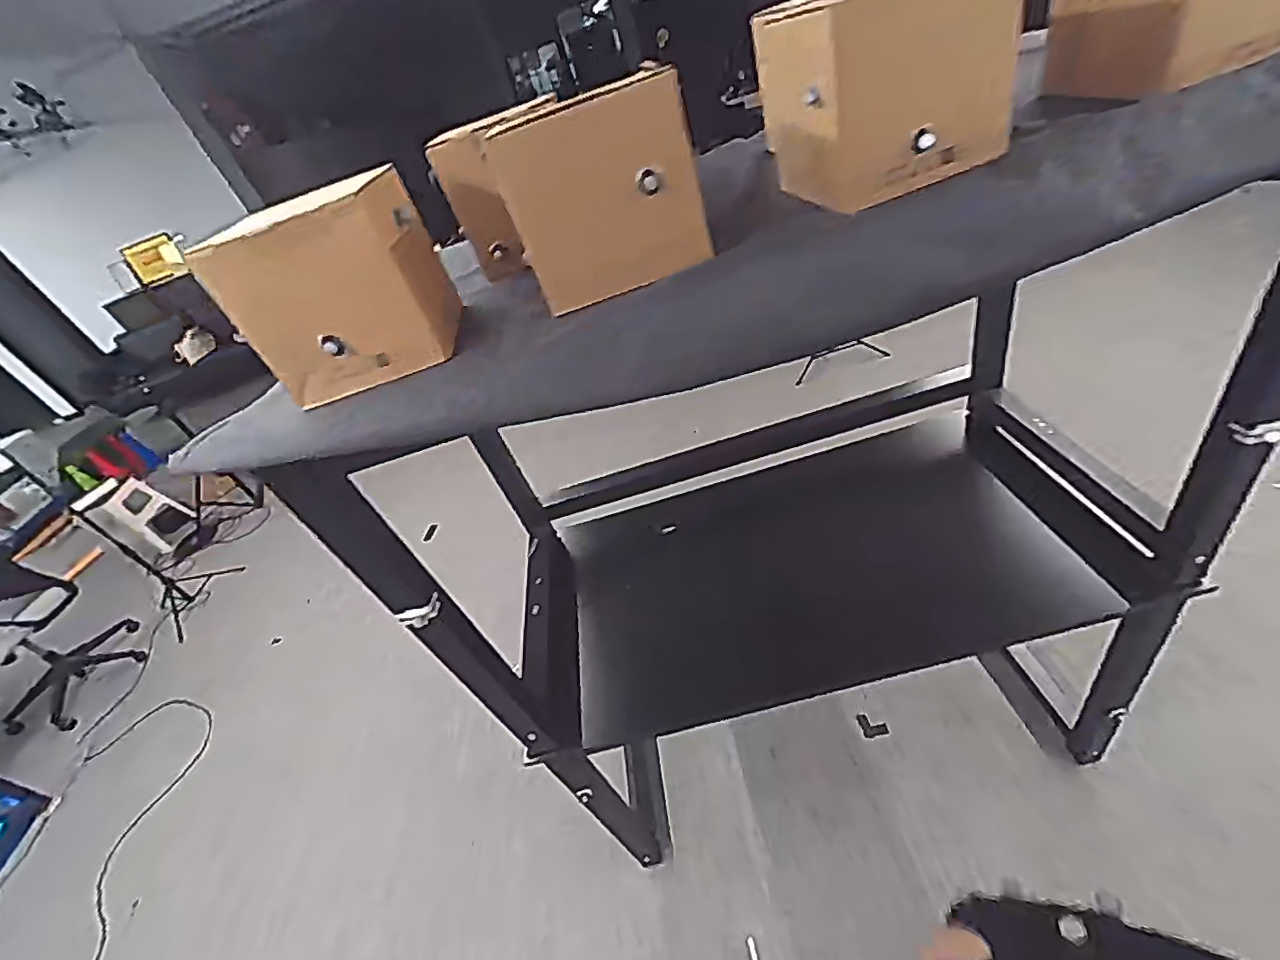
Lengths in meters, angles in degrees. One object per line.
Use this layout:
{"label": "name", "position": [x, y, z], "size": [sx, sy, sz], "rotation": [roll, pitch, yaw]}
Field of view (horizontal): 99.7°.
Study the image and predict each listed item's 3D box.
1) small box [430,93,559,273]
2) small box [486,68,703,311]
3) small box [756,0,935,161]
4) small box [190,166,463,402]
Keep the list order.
{"label": "small box", "position": [-0.161, -0.409, 0.754], "size": [0.168, 0.176, 0.179], "rotation": [-17, 37, 6]}
{"label": "small box", "position": [-0.039, -0.303, 0.568], "size": [0.179, 0.176, 0.168], "rotation": [-18, 35, 2]}
{"label": "small box", "position": [0.263, -0.544, 0.714], "size": [0.168, 0.176, 0.179], "rotation": [-17, 37, 7]}
{"label": "small box", "position": [-0.307, -0.210, 0.580], "size": [0.168, 0.176, 0.179], "rotation": [-19, 38, 2]}
